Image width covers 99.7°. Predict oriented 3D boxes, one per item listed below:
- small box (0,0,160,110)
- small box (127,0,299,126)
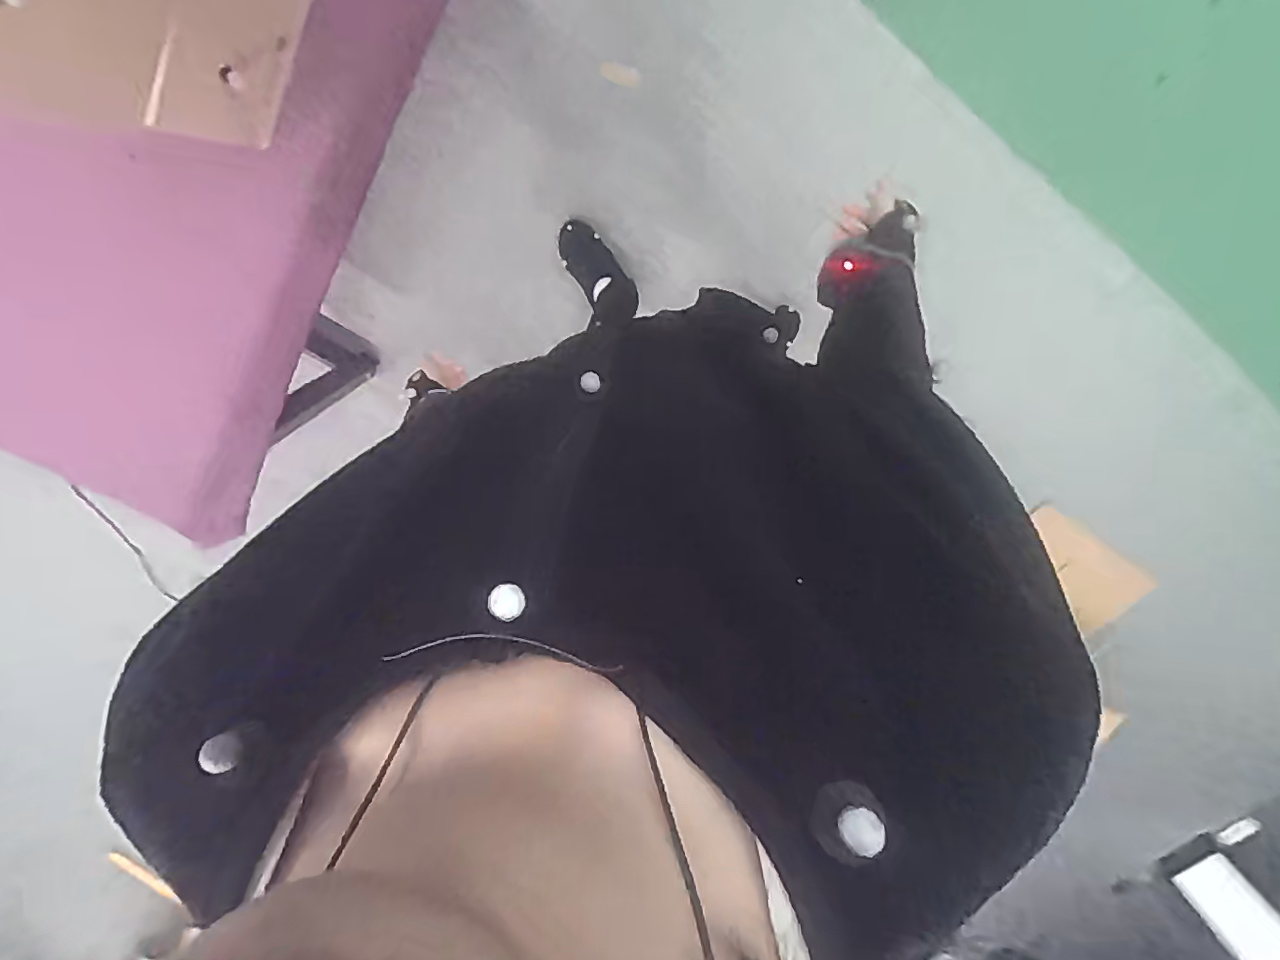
[{"bbox_3d":[-0.431,-0.362,0.319,0.168,0.176,0.179,32,111,-15],"label":"small box"},{"bbox_3d":[-0.434,-0.438,0.465,0.179,0.176,0.168,29,113,-14],"label":"small box"}]
